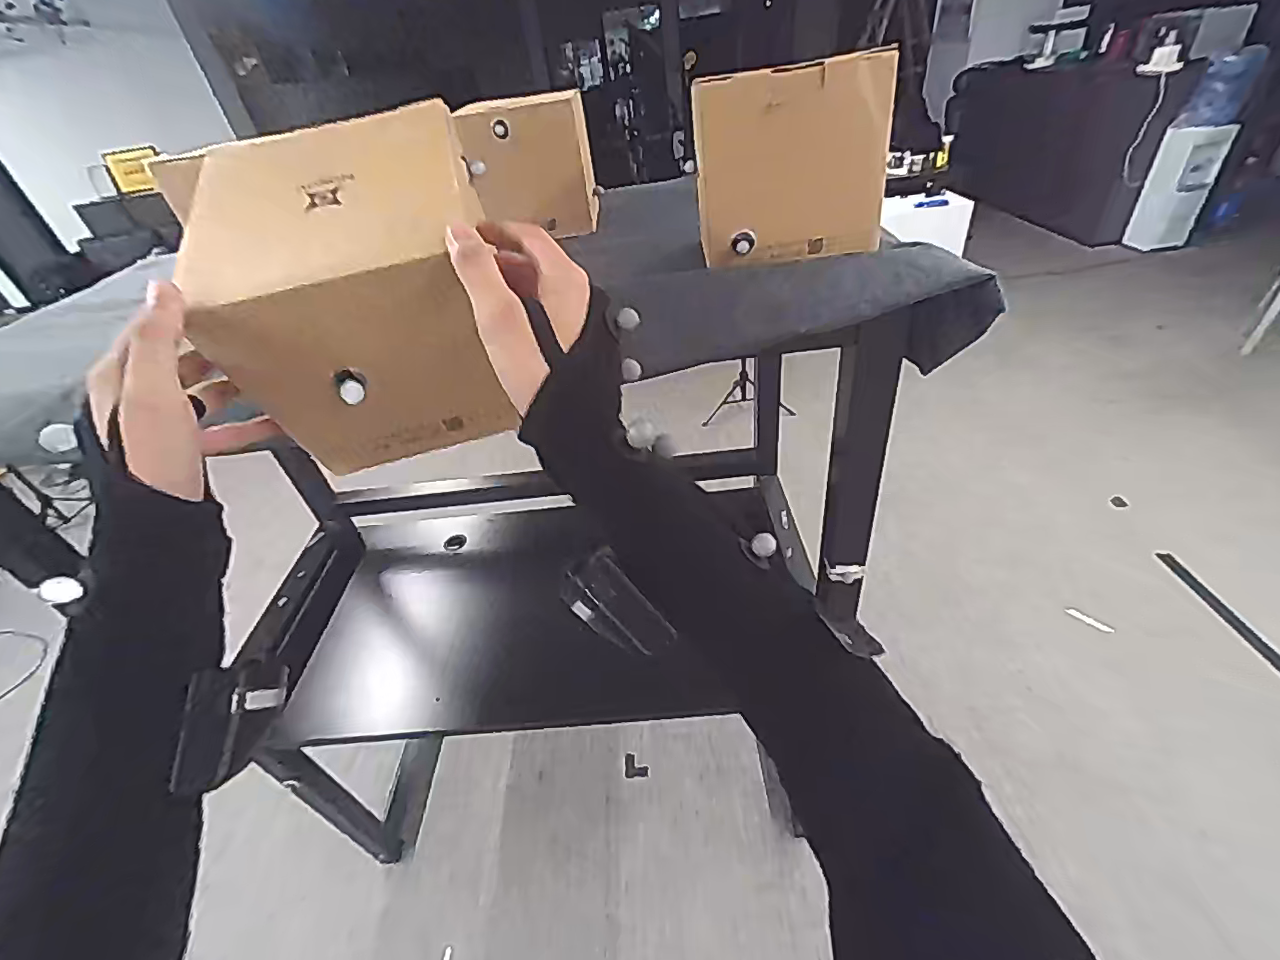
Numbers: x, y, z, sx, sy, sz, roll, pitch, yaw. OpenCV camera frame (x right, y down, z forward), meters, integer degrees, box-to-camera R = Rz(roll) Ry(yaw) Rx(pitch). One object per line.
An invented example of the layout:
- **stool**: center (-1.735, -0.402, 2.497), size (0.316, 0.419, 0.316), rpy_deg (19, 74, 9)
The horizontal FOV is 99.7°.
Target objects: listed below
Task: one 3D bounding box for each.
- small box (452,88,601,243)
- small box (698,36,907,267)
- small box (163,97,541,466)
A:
- **small box**: center (-0.152, -0.462, 0.795), size (0.168, 0.176, 0.179), rpy_deg (-7, 38, 3)
- **small box**: center (0.150, -0.325, 0.553), size (0.168, 0.176, 0.179), rpy_deg (-5, 34, 6)
- **small box**: center (-0.179, -0.128, 0.389), size (0.168, 0.176, 0.179), rpy_deg (-16, 59, -5)
